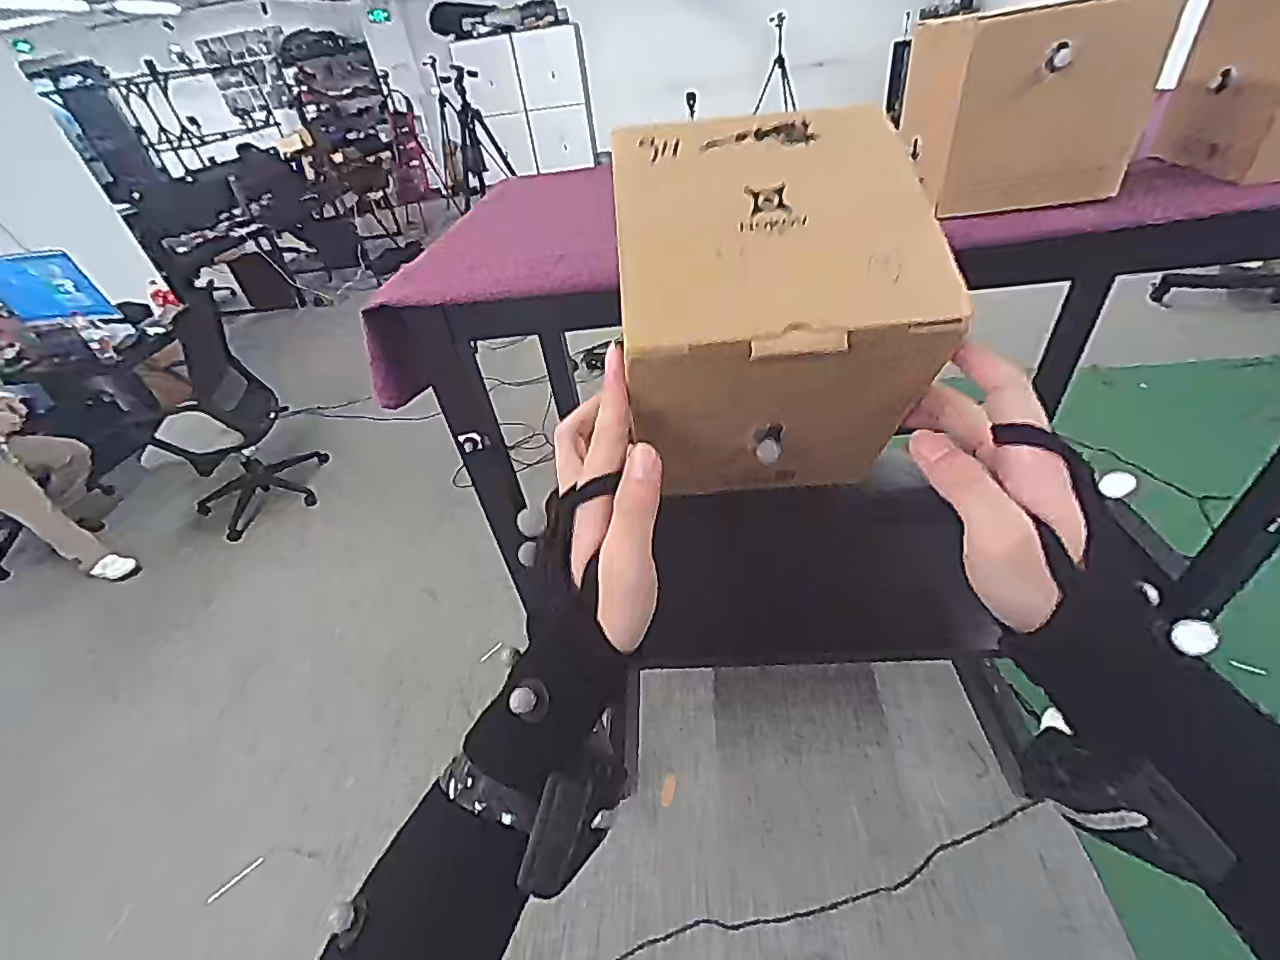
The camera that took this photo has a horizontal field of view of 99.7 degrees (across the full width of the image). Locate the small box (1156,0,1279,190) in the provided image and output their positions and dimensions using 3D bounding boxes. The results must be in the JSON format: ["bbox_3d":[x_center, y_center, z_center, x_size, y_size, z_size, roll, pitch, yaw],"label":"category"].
[{"bbox_3d":[0.679,-0.405,0.542,0.179,0.176,0.168,-2,40,10],"label":"small box"}]

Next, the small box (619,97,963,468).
[{"bbox_3d":[0.077,-0.117,0.370,0.168,0.176,0.179,-4,64,1],"label":"small box"}]

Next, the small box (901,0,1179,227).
[{"bbox_3d":[0.394,-0.389,0.583,0.179,0.176,0.168,-4,37,8],"label":"small box"}]
